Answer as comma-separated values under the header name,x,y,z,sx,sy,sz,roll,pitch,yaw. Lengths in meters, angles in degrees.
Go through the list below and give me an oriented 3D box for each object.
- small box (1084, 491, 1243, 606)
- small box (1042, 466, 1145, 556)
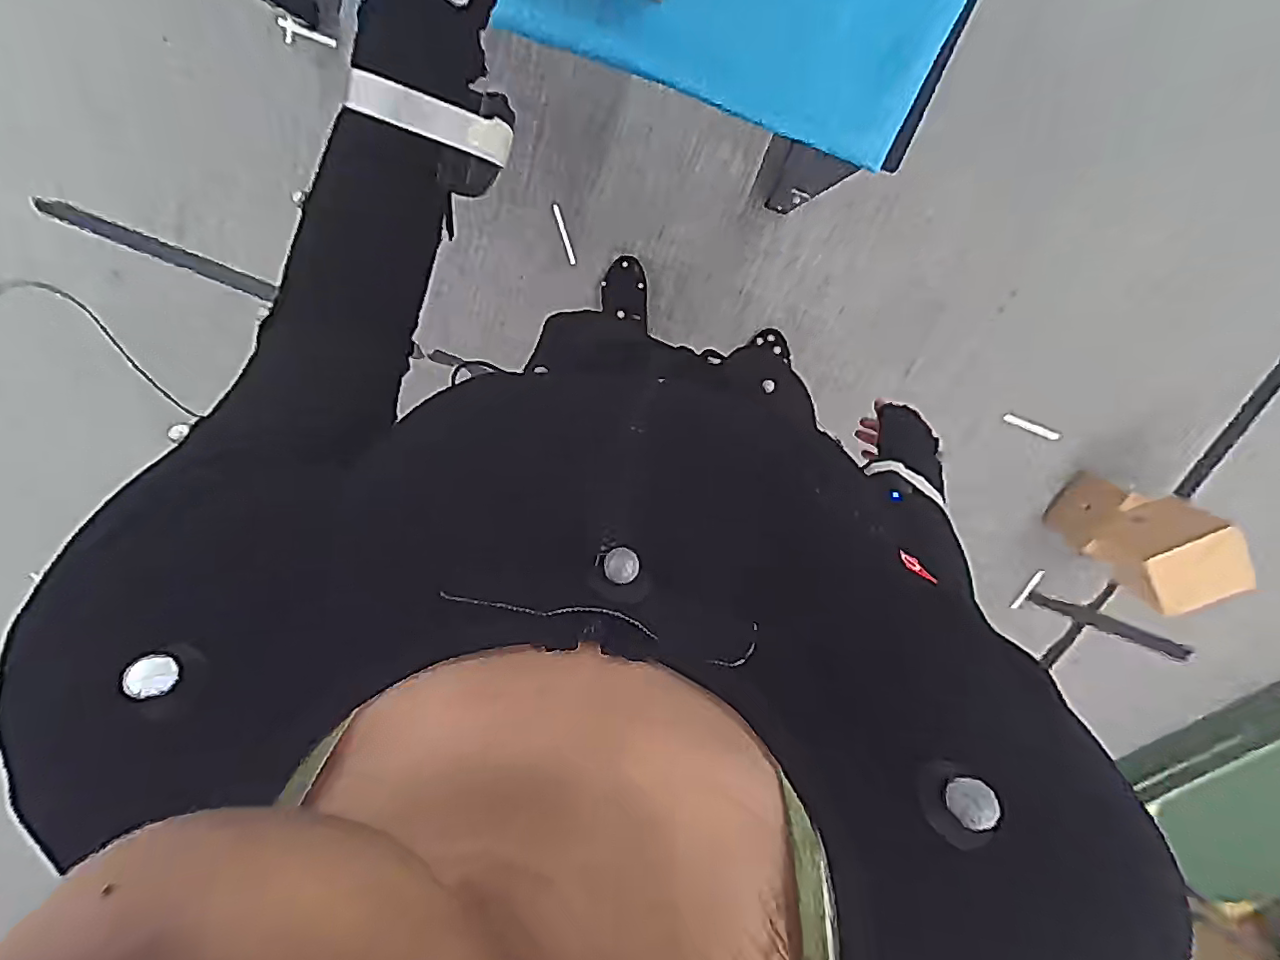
name,x,y,z,sx,sy,sz,roll,pitch,yaw
small box,1.177,0.158,1.225,0.179,0.176,0.168,-30,106,15
small box,1.181,0.091,1.379,0.168,0.176,0.179,22,111,-4
